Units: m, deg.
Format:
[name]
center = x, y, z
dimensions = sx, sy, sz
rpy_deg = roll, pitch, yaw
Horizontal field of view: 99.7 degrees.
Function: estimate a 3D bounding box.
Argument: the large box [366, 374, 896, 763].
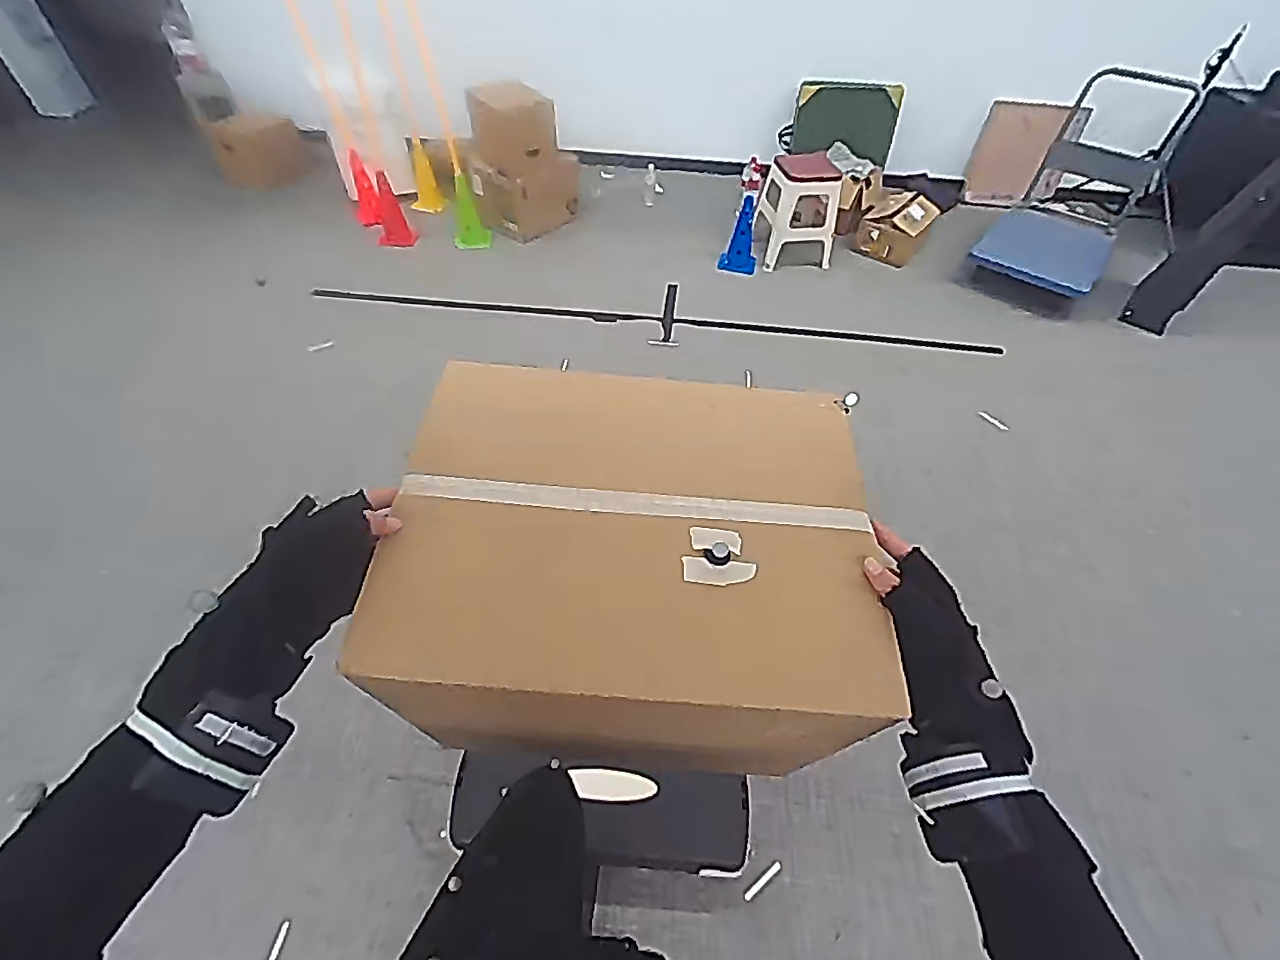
[large box]
center = -0.009, 0.113, 0.603
dimensions = 0.408, 0.320, 0.320
rpy_deg = 5, 55, -1
